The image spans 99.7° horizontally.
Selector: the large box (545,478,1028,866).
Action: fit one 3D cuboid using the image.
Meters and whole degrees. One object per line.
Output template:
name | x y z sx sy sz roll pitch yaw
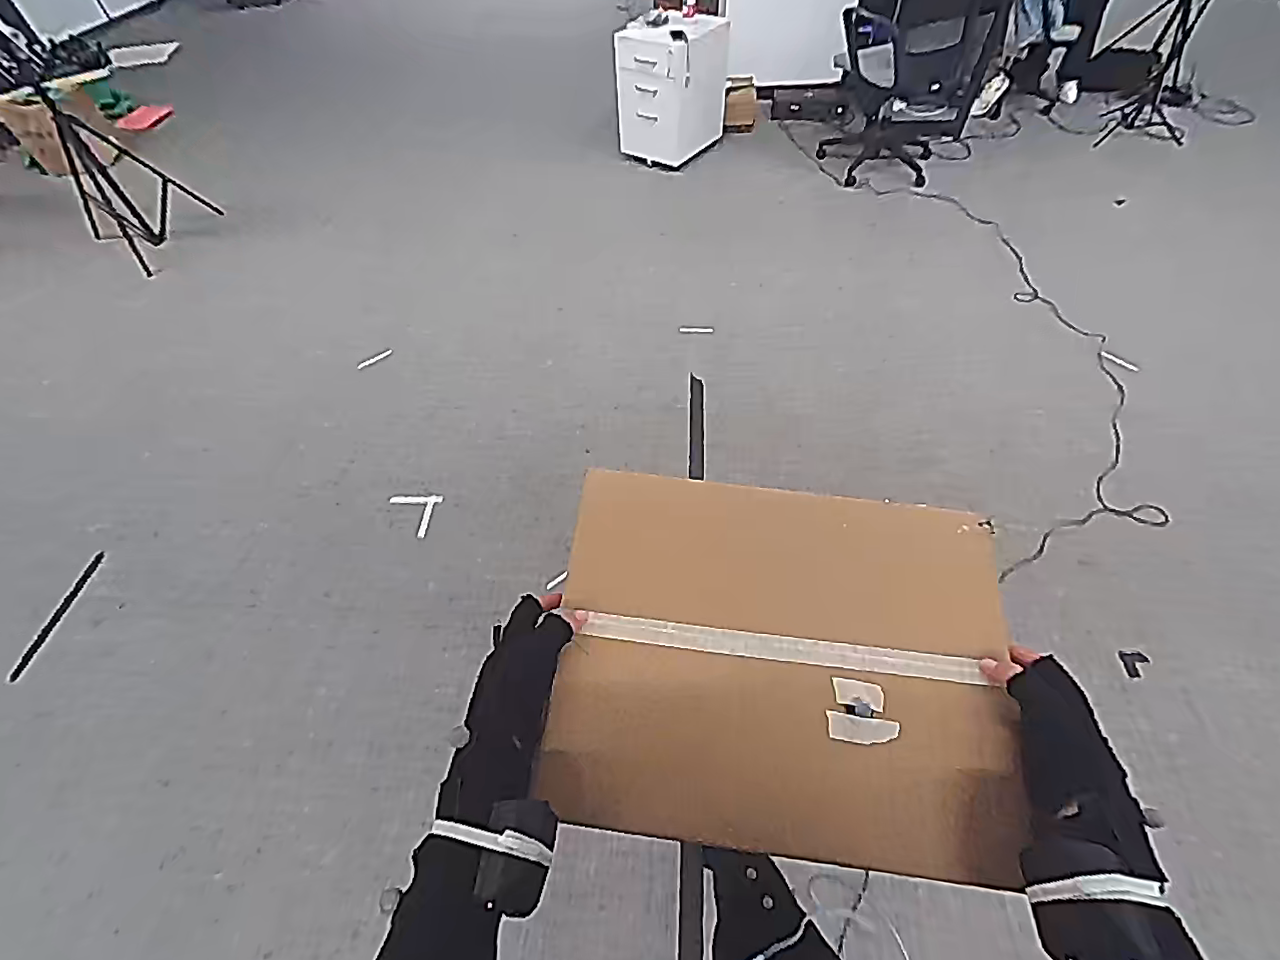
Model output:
large box | 0.129 0.217 0.637 0.408 0.320 0.320 6 65 3
